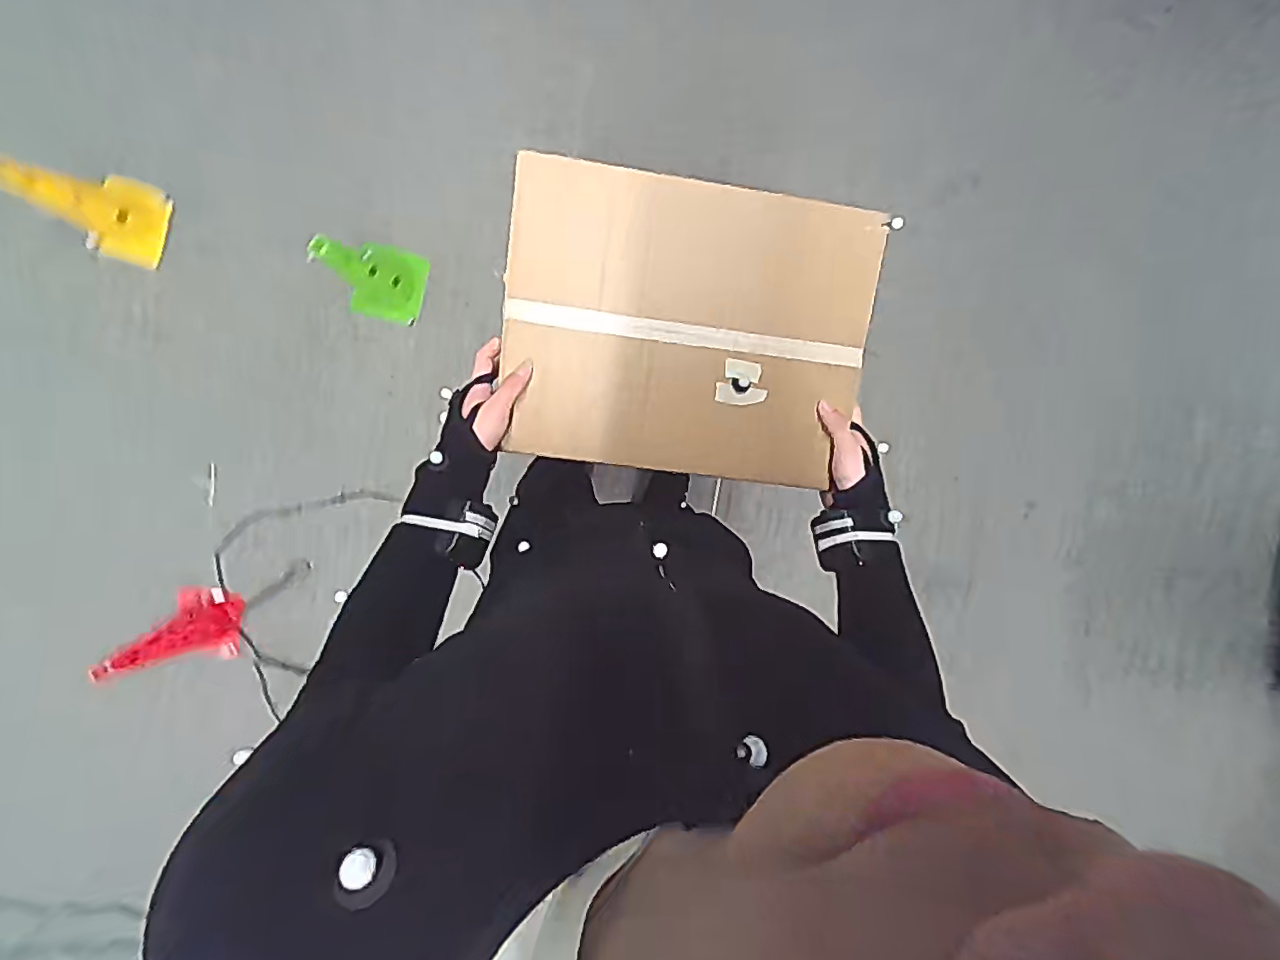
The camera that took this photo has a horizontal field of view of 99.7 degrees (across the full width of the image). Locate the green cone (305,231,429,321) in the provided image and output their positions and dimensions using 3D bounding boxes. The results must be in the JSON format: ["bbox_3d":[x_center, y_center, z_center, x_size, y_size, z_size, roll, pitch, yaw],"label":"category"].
[{"bbox_3d":[-0.723,-0.561,1.390,0.202,0.368,0.200,15,96,0],"label":"green cone"}]
